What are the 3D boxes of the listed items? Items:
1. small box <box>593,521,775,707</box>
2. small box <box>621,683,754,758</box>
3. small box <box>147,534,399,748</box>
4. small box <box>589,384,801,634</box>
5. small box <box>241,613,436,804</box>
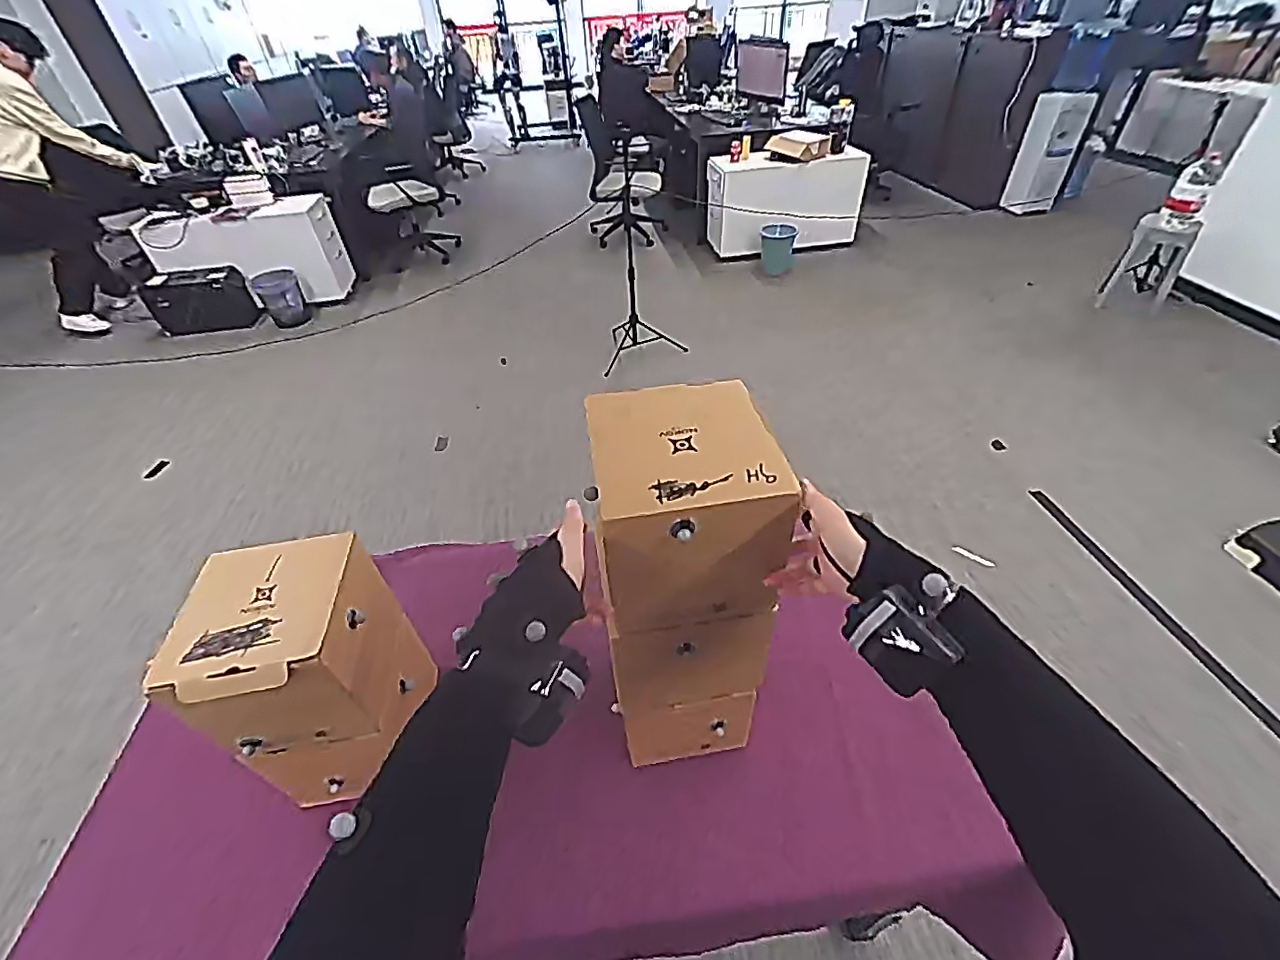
[{"bbox_3d":[0.045,0.151,0.649,0.179,0.176,0.168,-8,43,-5],"label":"small box"},{"bbox_3d":[0.053,0.270,0.762,0.168,0.176,0.179,-7,42,-5],"label":"small box"},{"bbox_3d":[-0.403,0.193,0.638,0.168,0.176,0.179,-9,43,-6],"label":"small box"},{"bbox_3d":[0.041,0.026,0.543,0.168,0.176,0.179,-8,42,-5],"label":"small box"},{"bbox_3d":[-0.394,0.314,0.748,0.168,0.176,0.179,-8,43,-5],"label":"small box"}]
